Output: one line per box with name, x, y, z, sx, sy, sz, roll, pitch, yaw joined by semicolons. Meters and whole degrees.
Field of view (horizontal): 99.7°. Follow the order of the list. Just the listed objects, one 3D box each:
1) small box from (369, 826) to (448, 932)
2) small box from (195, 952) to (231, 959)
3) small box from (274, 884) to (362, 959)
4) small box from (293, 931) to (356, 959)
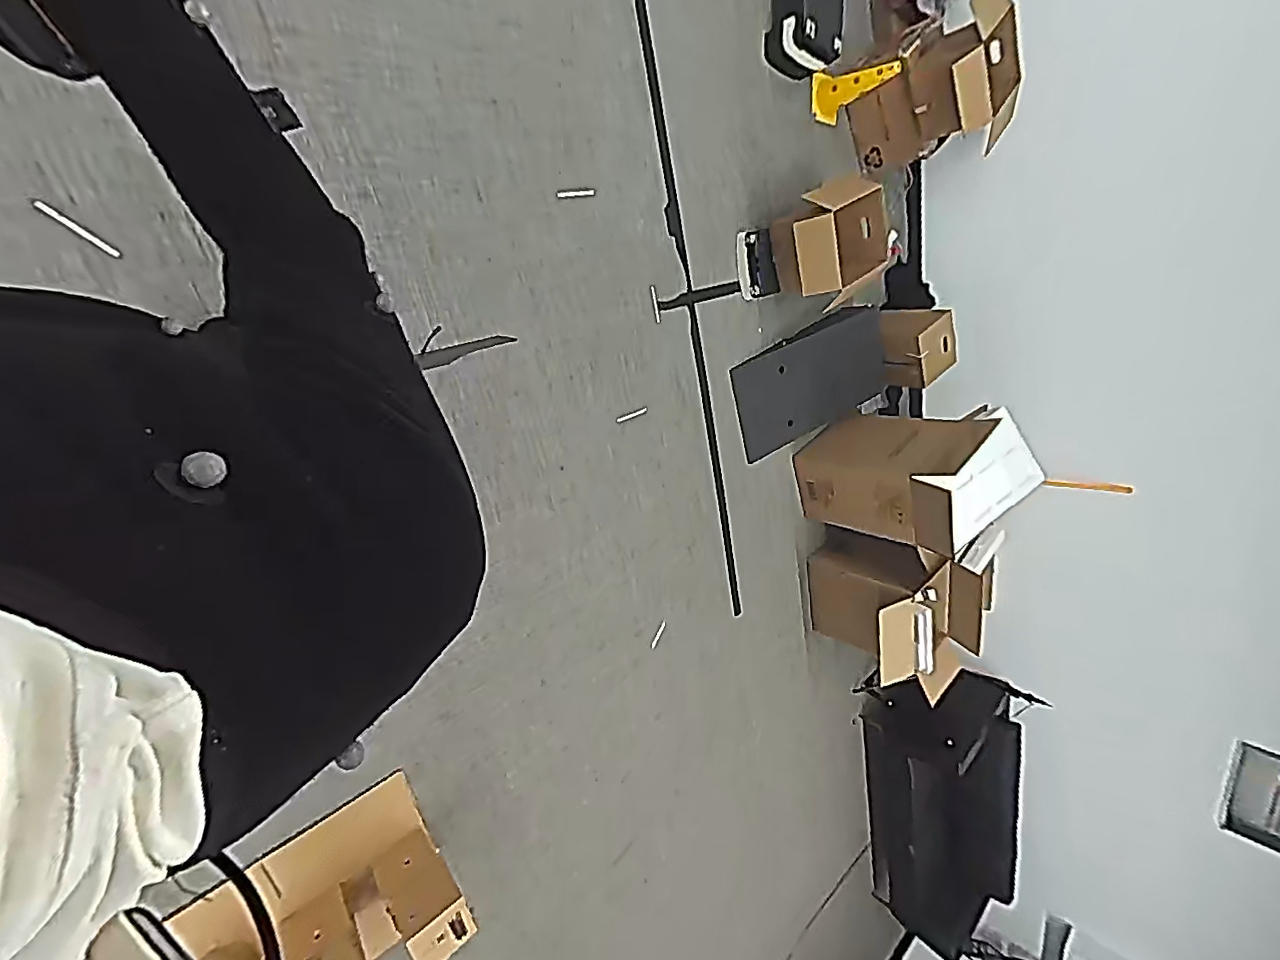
small box;-0.755;1.281;1.750;0.179;0.176;0.168;-26;116;-36
small box;-1.157;1.415;1.434;0.168;0.176;0.179;-46;126;-25
small box;-0.956;1.364;1.598;0.179;0.176;0.168;-23;113;-35
small box;-0.857;1.397;1.469;0.168;0.176;0.179;-23;113;-35
